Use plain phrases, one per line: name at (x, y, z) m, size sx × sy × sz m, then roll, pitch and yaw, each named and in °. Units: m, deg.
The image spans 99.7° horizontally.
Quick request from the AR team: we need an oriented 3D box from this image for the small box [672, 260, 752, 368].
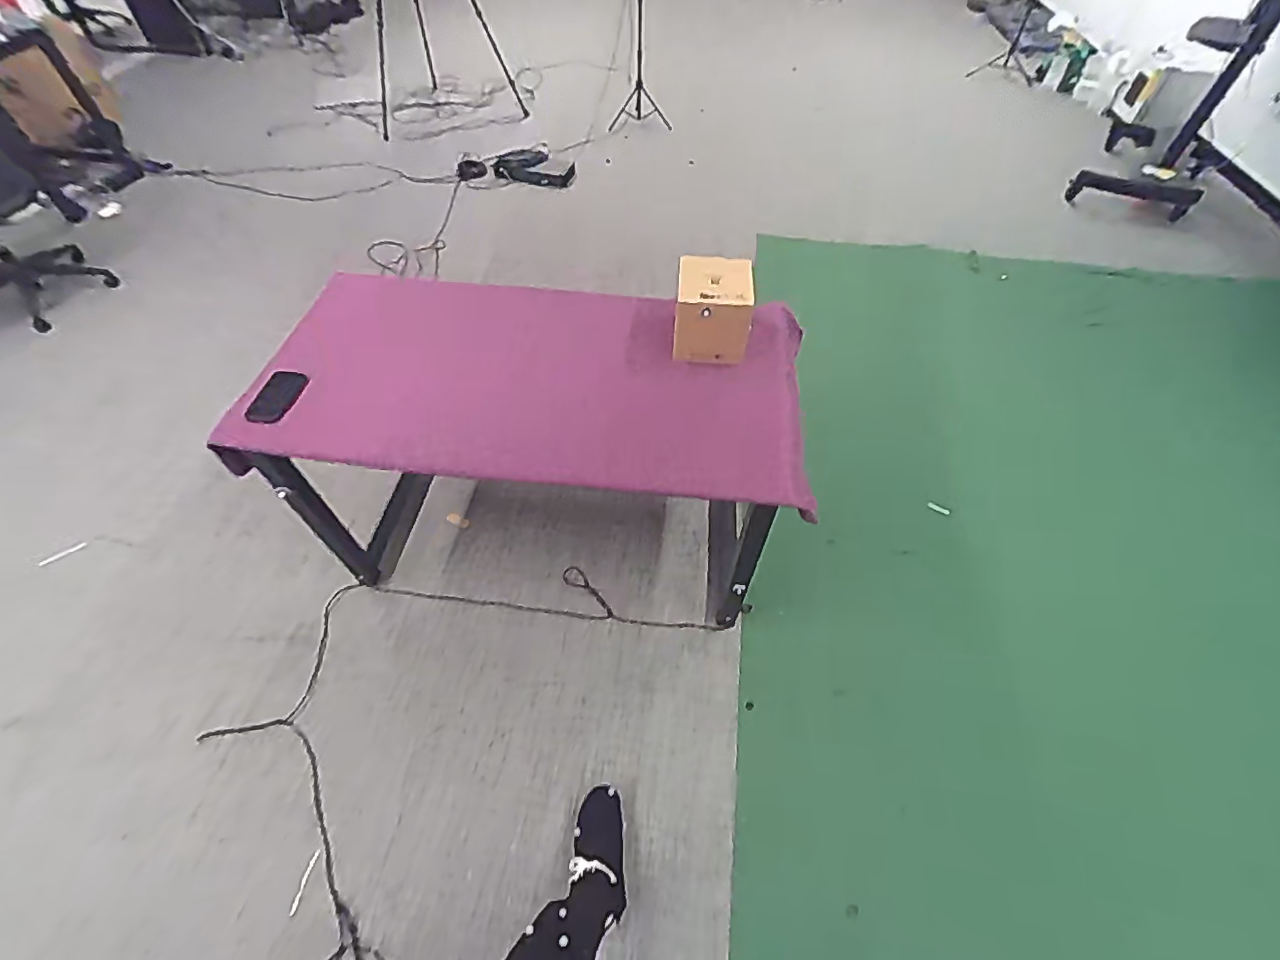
small box at (0.165, -0.389, 1.269) m, size 0.168 × 0.176 × 0.179 m, roll 4°, pitch 52°, yaw 3°
